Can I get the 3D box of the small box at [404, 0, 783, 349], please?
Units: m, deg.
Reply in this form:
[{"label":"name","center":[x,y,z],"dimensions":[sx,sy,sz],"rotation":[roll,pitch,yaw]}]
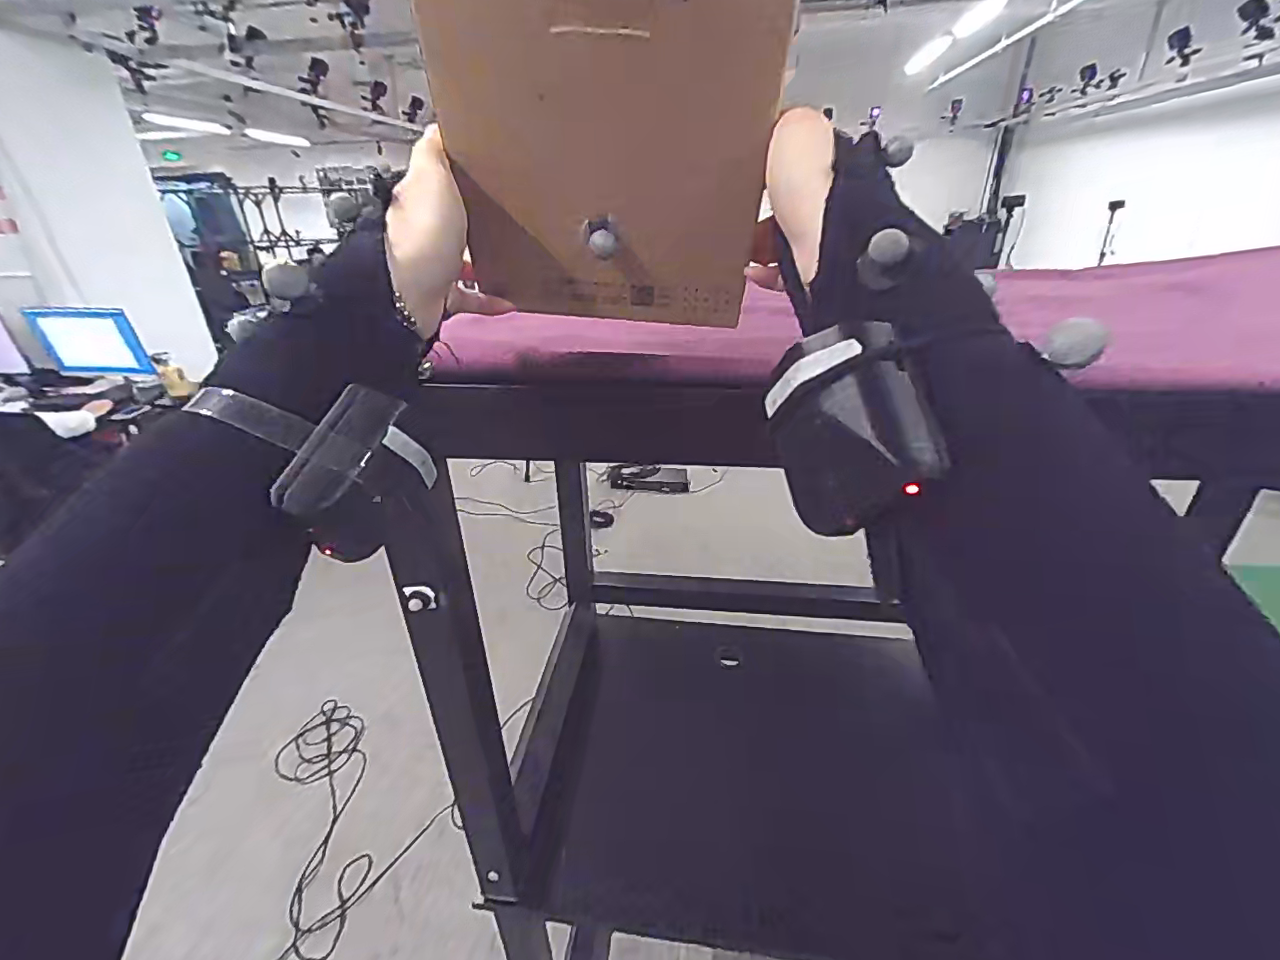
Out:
[{"label":"small box","center":[-0.013,-0.208,0.339],"dimensions":[0.168,0.176,0.179],"rotation":[5,52,4]}]
